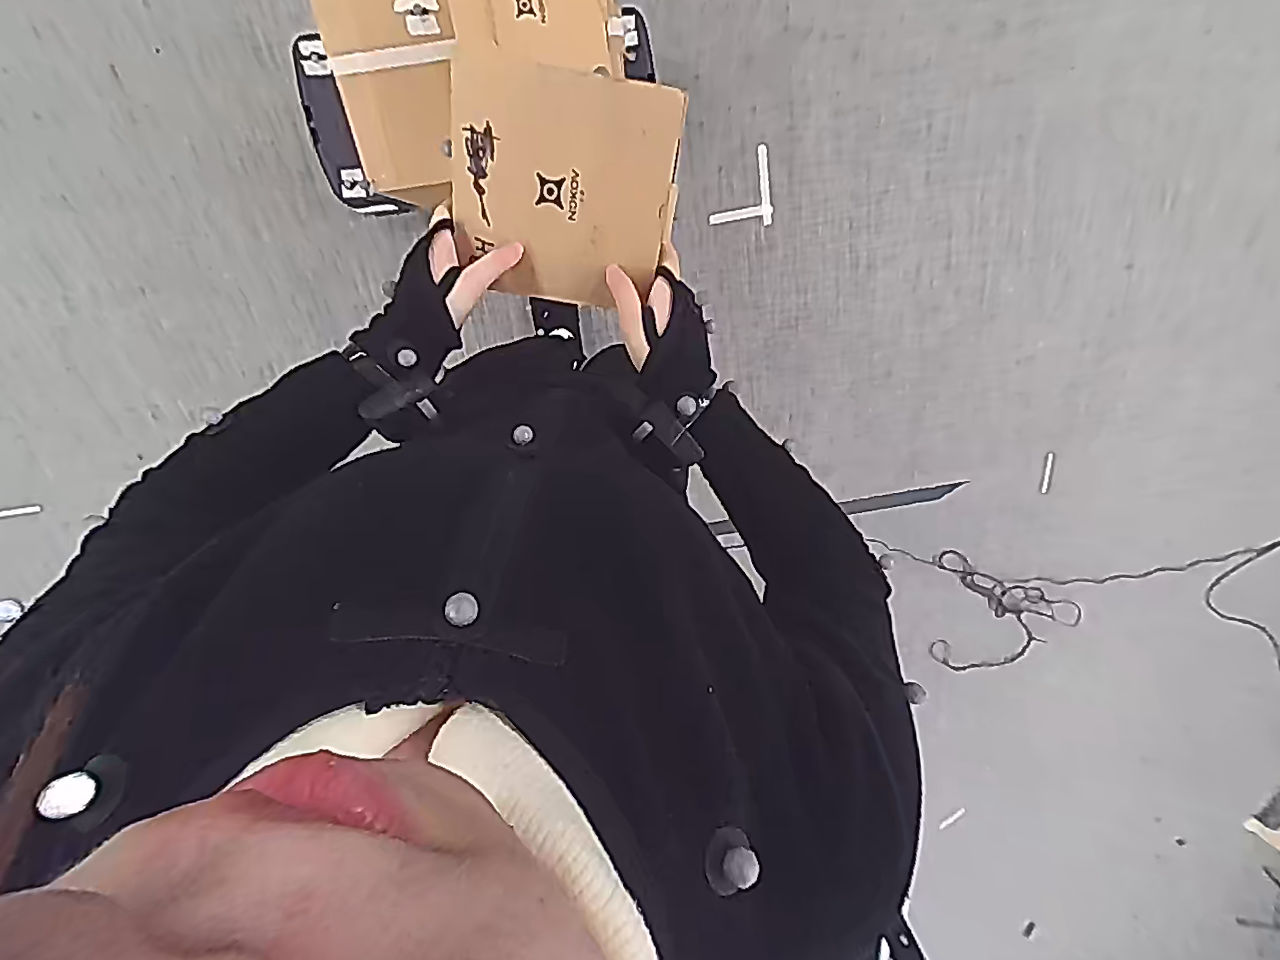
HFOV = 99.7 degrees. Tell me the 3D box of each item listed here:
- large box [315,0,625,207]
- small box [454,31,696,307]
[{"bbox_3d":[-0.238,-0.657,0.888,0.408,0.320,0.320,-10,113,-2],"label":"large box"},{"bbox_3d":[-0.057,-0.269,0.490,0.179,0.176,0.168,8,118,-4],"label":"small box"}]
